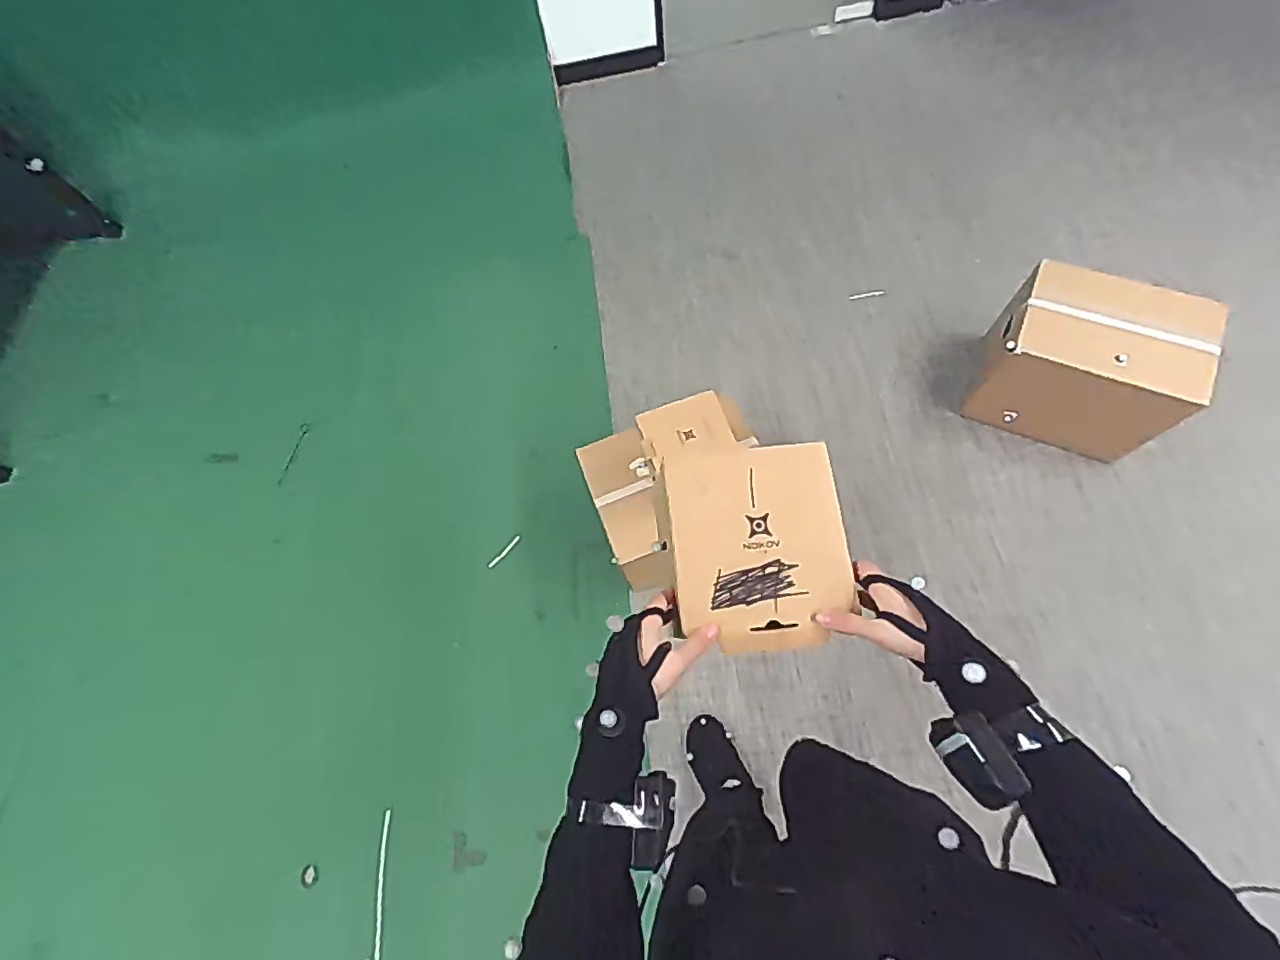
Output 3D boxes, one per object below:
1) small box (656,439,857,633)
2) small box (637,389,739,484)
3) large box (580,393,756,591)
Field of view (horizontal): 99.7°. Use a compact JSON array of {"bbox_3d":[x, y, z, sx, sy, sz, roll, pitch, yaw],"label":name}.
[{"bbox_3d":[0.109,0.070,0.586,0.168,0.176,0.179,-4,73,-3],"label":"small box"},{"bbox_3d":[0.106,-0.062,1.164,0.179,0.176,0.168,-19,68,-2],"label":"small box"},{"bbox_3d":[0.109,0.045,1.388,0.408,0.320,0.320,-22,65,-2],"label":"large box"}]
